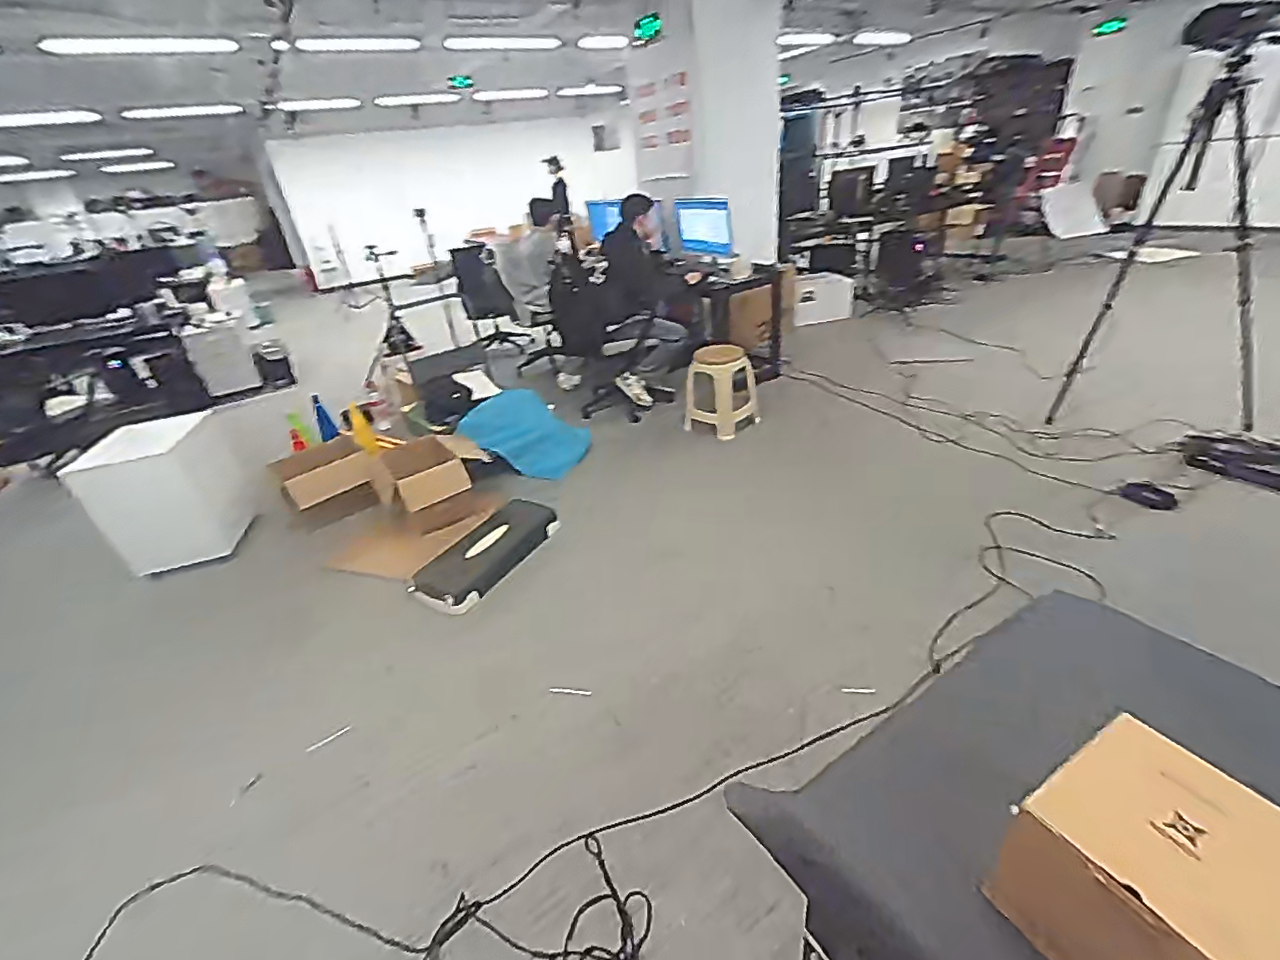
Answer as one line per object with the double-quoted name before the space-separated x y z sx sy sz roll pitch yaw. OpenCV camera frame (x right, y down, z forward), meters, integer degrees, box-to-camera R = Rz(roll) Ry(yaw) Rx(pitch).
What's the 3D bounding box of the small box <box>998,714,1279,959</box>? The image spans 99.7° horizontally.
"small box" 0.459 0.361 0.486 0.179 0.176 0.168 -19 34 -23
